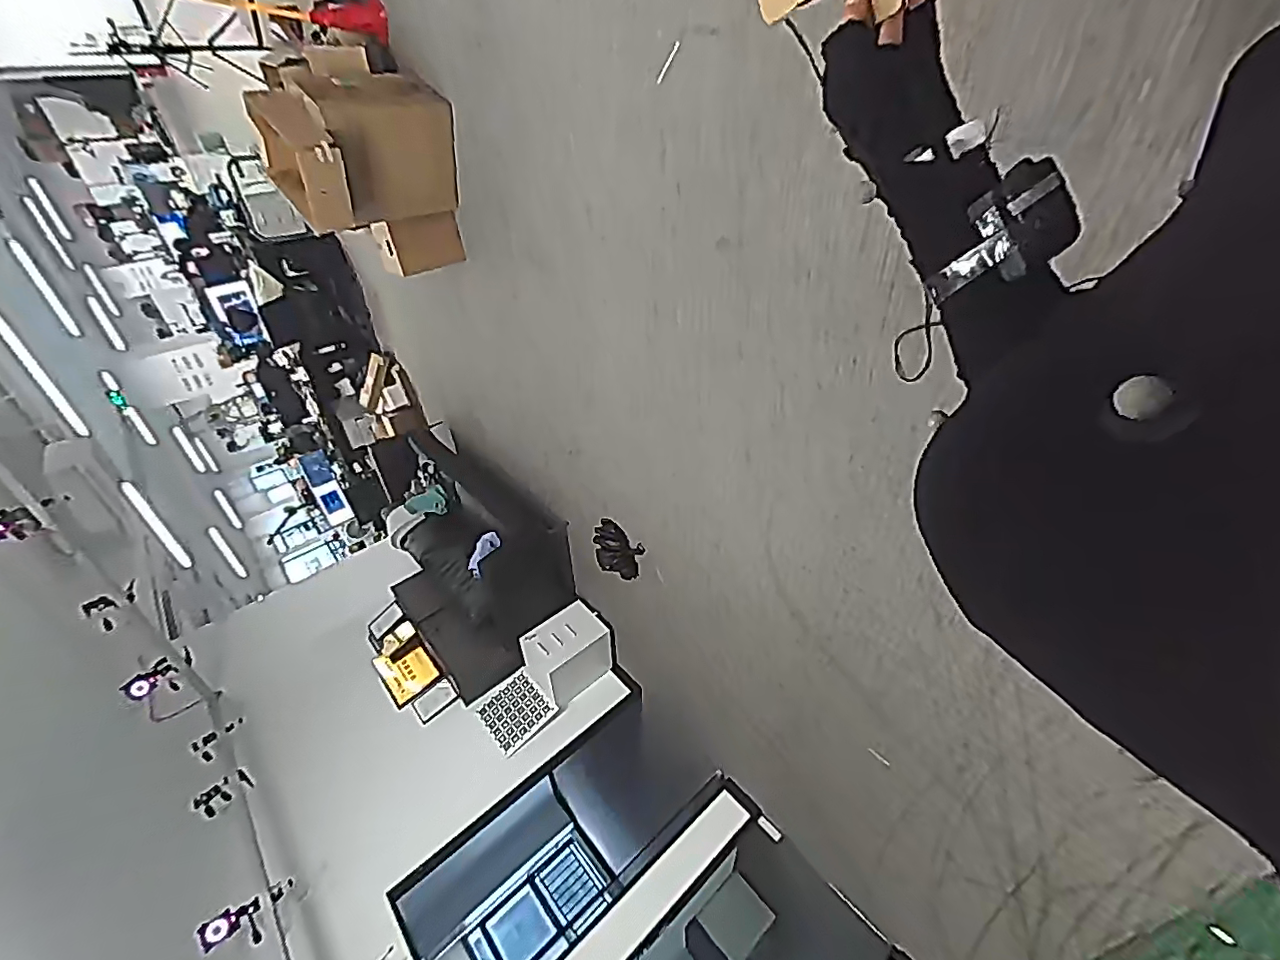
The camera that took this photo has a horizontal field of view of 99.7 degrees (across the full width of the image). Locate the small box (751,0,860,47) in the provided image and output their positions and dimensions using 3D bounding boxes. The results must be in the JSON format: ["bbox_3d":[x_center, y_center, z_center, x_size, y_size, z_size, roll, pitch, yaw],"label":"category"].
[{"bbox_3d":[0.167,-0.447,0.359,0.168,0.176,0.179,13,139,53],"label":"small box"}]
